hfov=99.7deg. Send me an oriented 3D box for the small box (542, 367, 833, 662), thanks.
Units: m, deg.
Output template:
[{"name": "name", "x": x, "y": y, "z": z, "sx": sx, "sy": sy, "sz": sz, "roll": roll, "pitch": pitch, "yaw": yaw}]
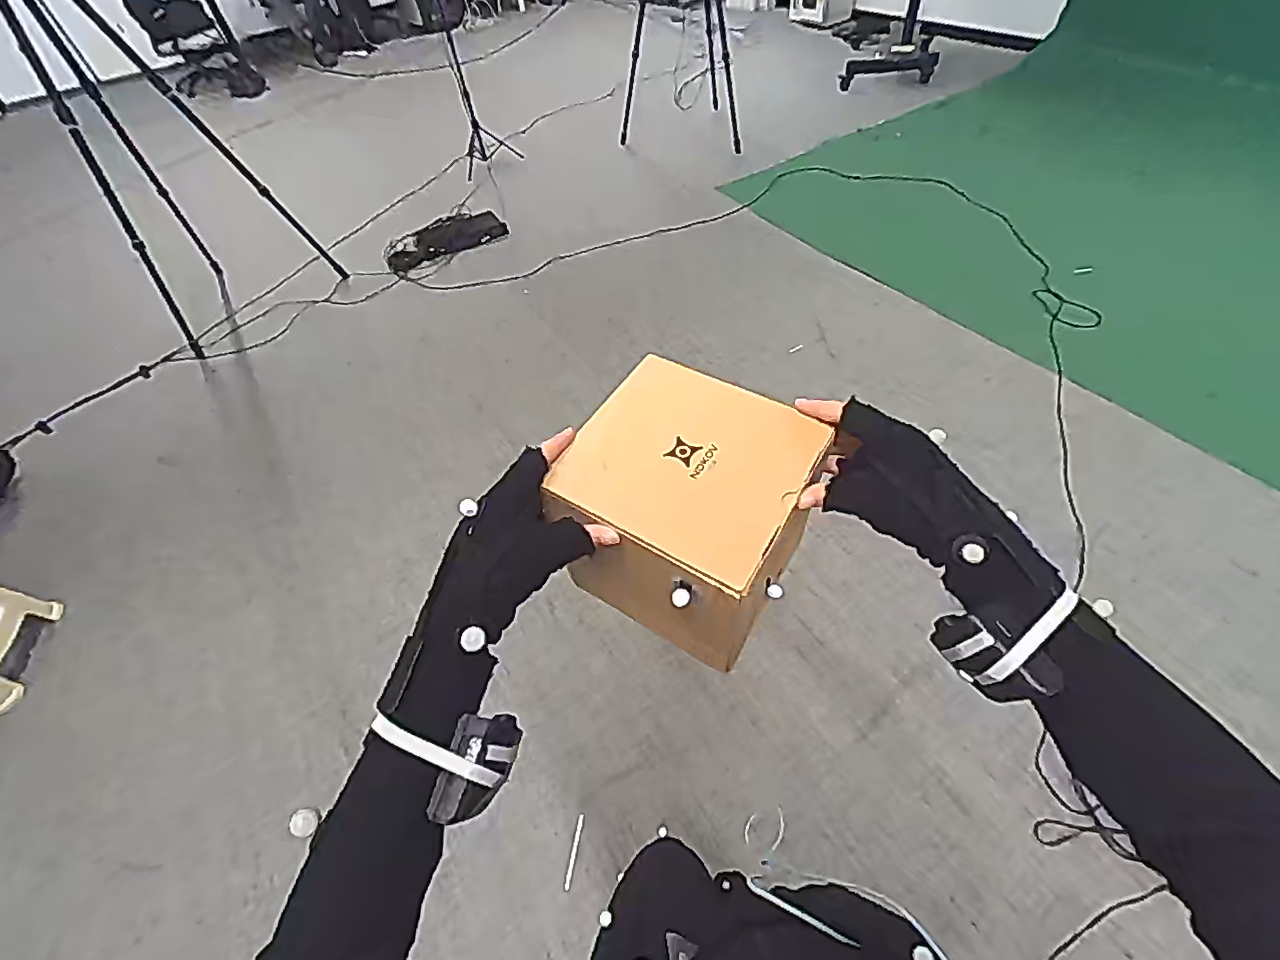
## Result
[{"name": "small box", "x": 0.042, "y": 0.034, "z": 0.486, "sx": 0.179, "sy": 0.176, "sz": 0.168, "roll": 26, "pitch": 60, "yaw": 21}]
